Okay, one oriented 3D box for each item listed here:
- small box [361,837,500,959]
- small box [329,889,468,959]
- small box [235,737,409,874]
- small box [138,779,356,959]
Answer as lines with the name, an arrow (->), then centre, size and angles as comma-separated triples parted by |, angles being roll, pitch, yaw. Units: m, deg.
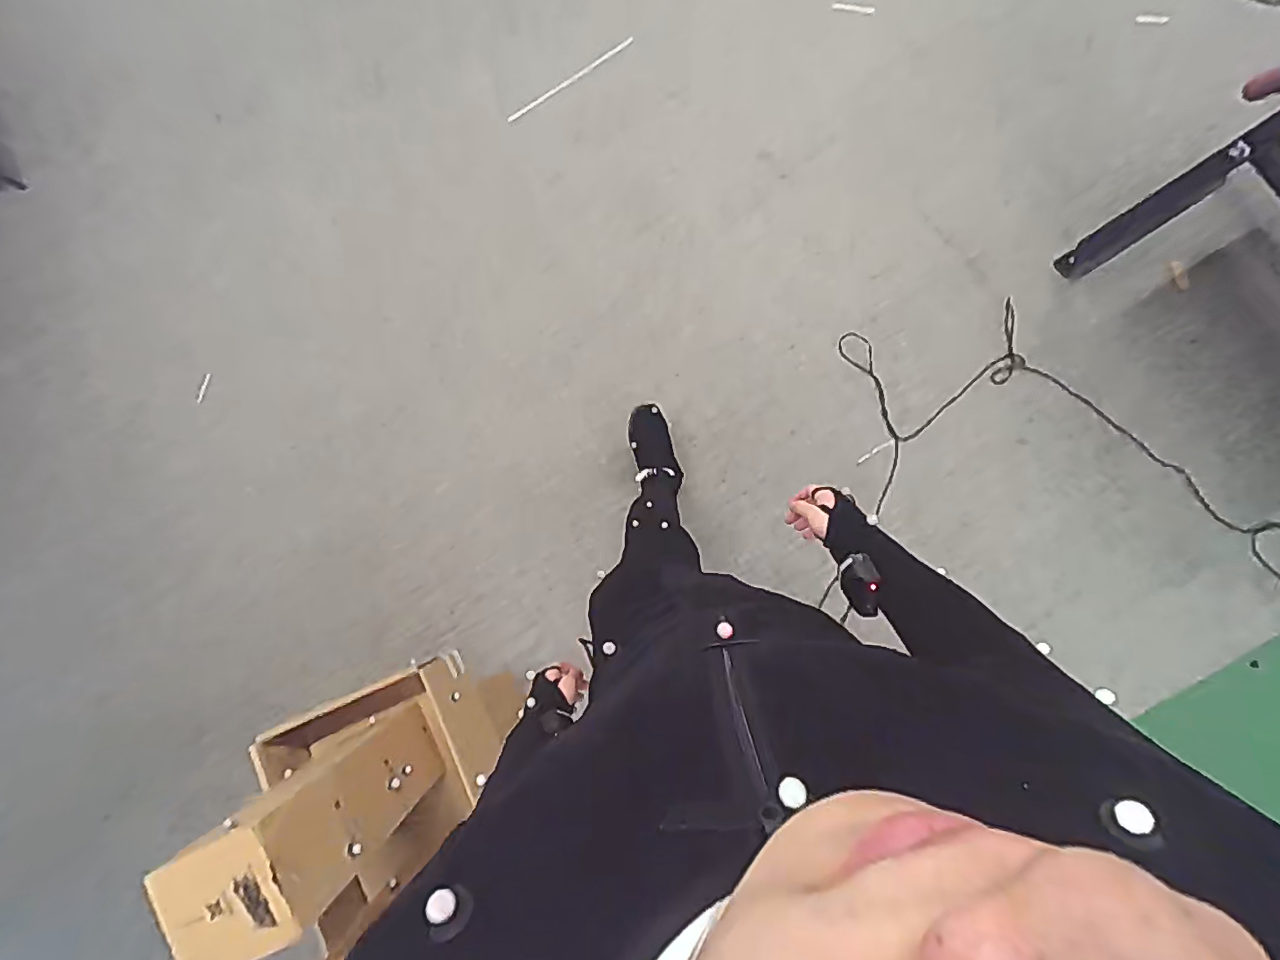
small box -> -0.412, 0.870, 1.088 | 0.179, 0.176, 0.168 | -24, 86, 2
small box -> -0.424, 0.860, 0.927 | 0.179, 0.176, 0.168 | -24, 85, 1
small box -> -0.547, 0.592, 0.953 | 0.179, 0.176, 0.168 | -26, 86, 0
small box -> -0.551, 0.579, 0.790 | 0.179, 0.176, 0.168 | -27, 86, 2
